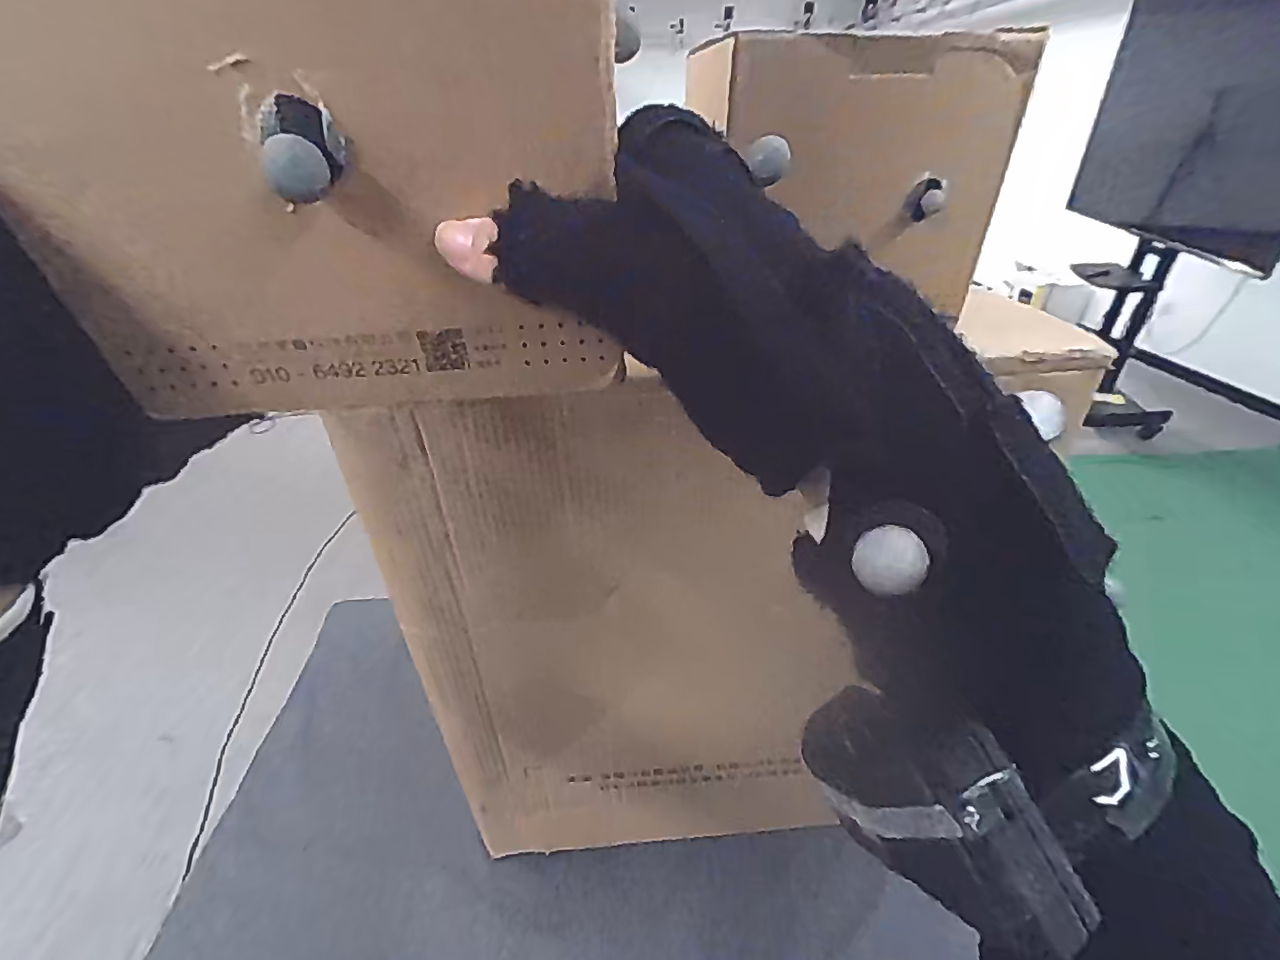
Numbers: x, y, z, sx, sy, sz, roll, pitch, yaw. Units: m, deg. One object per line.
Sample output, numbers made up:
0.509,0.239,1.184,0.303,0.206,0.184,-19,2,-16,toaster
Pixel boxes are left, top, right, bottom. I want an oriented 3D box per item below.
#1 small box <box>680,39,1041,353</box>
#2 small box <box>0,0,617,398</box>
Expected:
0.121,-0.197,0.384,0.168,0.176,0.179,-2,34,-3,small box
-0.097,-0.141,0.201,0.168,0.176,0.179,-3,42,-4,small box
